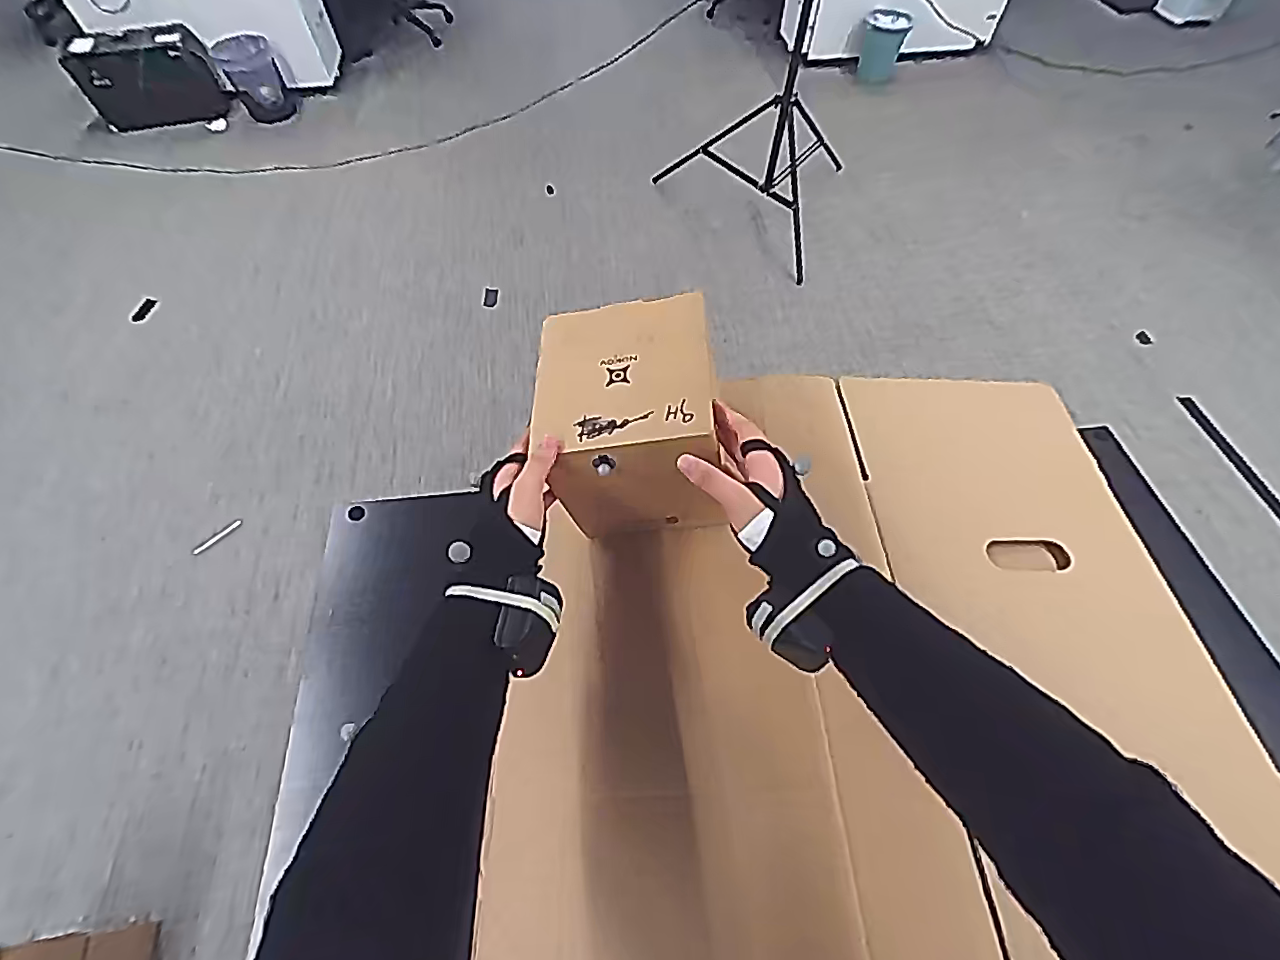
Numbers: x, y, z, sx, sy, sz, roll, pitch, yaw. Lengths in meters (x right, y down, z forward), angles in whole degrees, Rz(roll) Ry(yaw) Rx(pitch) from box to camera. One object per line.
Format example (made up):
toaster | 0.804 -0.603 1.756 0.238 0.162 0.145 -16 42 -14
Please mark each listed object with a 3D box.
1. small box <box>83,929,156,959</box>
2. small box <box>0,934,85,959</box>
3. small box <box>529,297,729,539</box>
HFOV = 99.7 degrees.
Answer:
small box | -1.038 0.945 0.979 0.168 0.176 0.179 -9 59 -6
small box | -1.039 0.854 0.844 0.168 0.176 0.179 -12 58 -9
small box | 0.000 -0.057 0.567 0.168 0.176 0.179 -7 57 11
